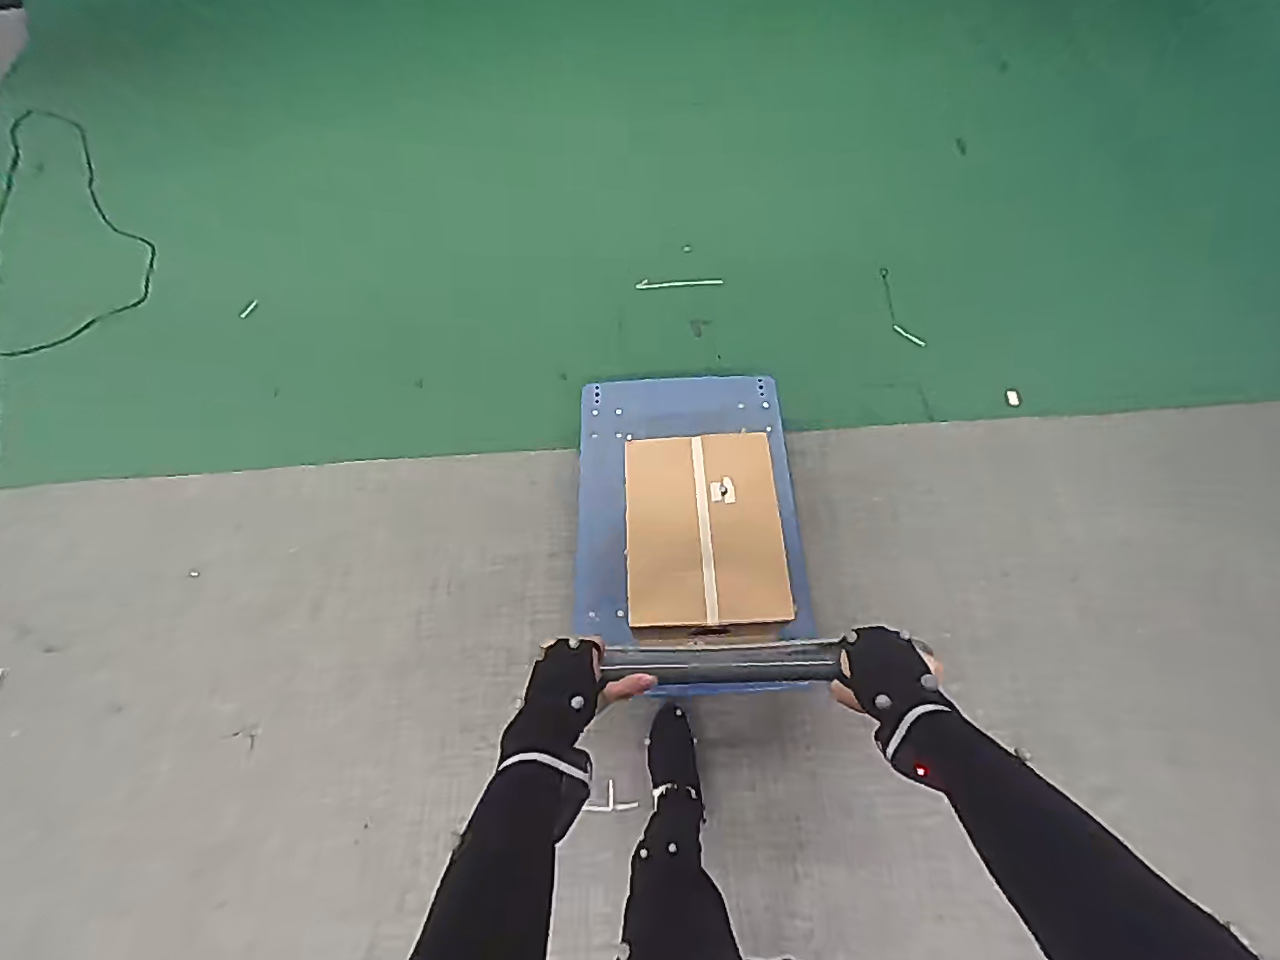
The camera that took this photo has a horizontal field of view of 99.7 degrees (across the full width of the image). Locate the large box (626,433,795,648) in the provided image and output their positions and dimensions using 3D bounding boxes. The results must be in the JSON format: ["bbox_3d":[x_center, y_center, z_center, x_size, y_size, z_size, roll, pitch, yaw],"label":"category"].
[{"bbox_3d":[0.140,0.149,1.234,0.320,0.320,0.408,-3,64,2],"label":"large box"}]
